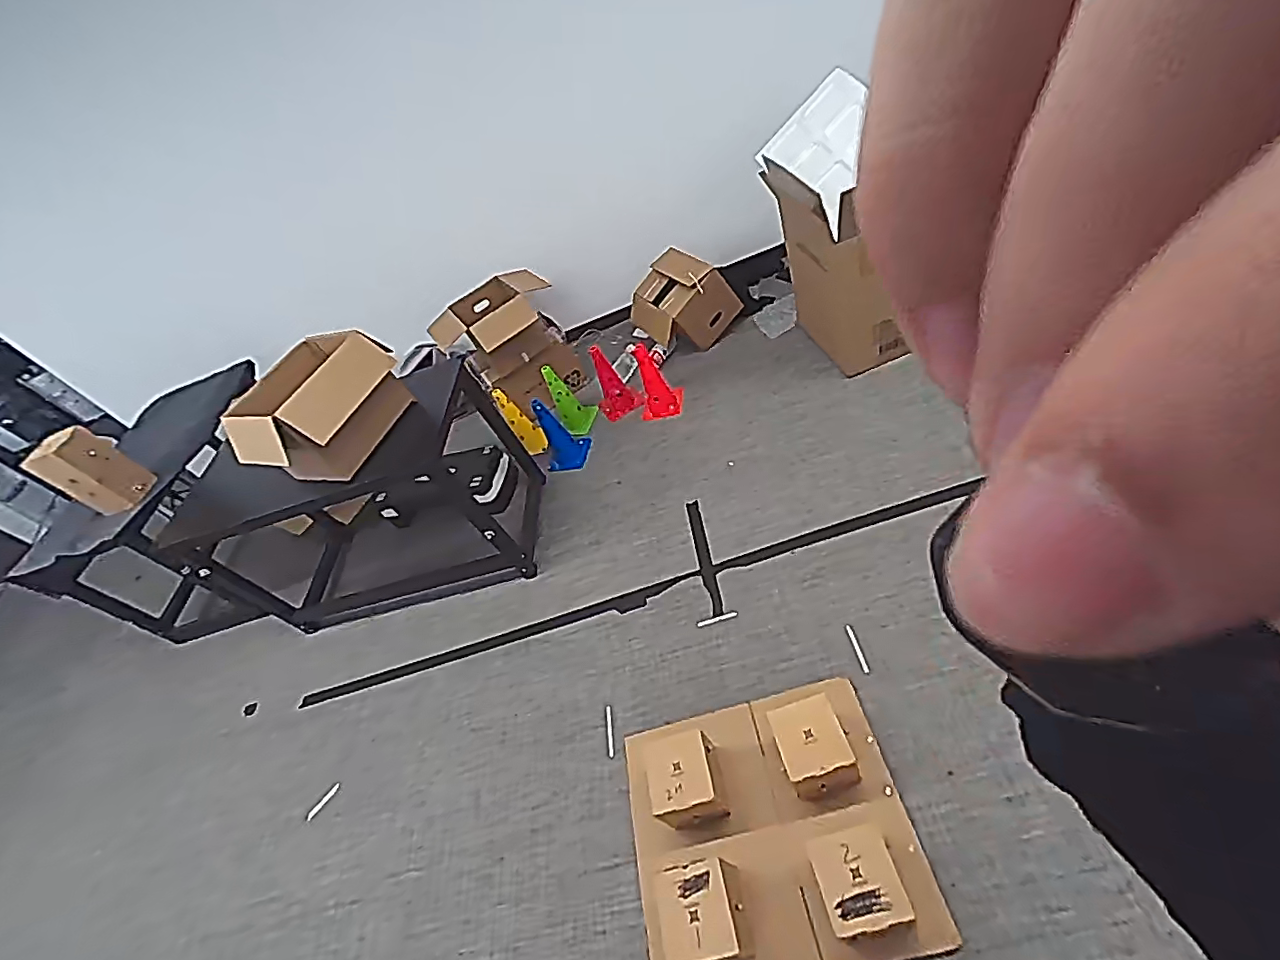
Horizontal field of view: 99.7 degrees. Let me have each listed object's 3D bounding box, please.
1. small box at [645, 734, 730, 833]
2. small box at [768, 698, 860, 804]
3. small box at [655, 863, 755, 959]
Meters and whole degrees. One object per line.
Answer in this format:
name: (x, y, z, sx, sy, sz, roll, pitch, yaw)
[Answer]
small box: (0.127, 0.811, 1.442, 0.168, 0.176, 0.179, -21, 44, 9)
small box: (0.448, 0.701, 1.394, 0.168, 0.176, 0.179, -23, 44, 6)
small box: (0.149, 1.014, 1.243, 0.168, 0.176, 0.179, -21, 45, 8)
